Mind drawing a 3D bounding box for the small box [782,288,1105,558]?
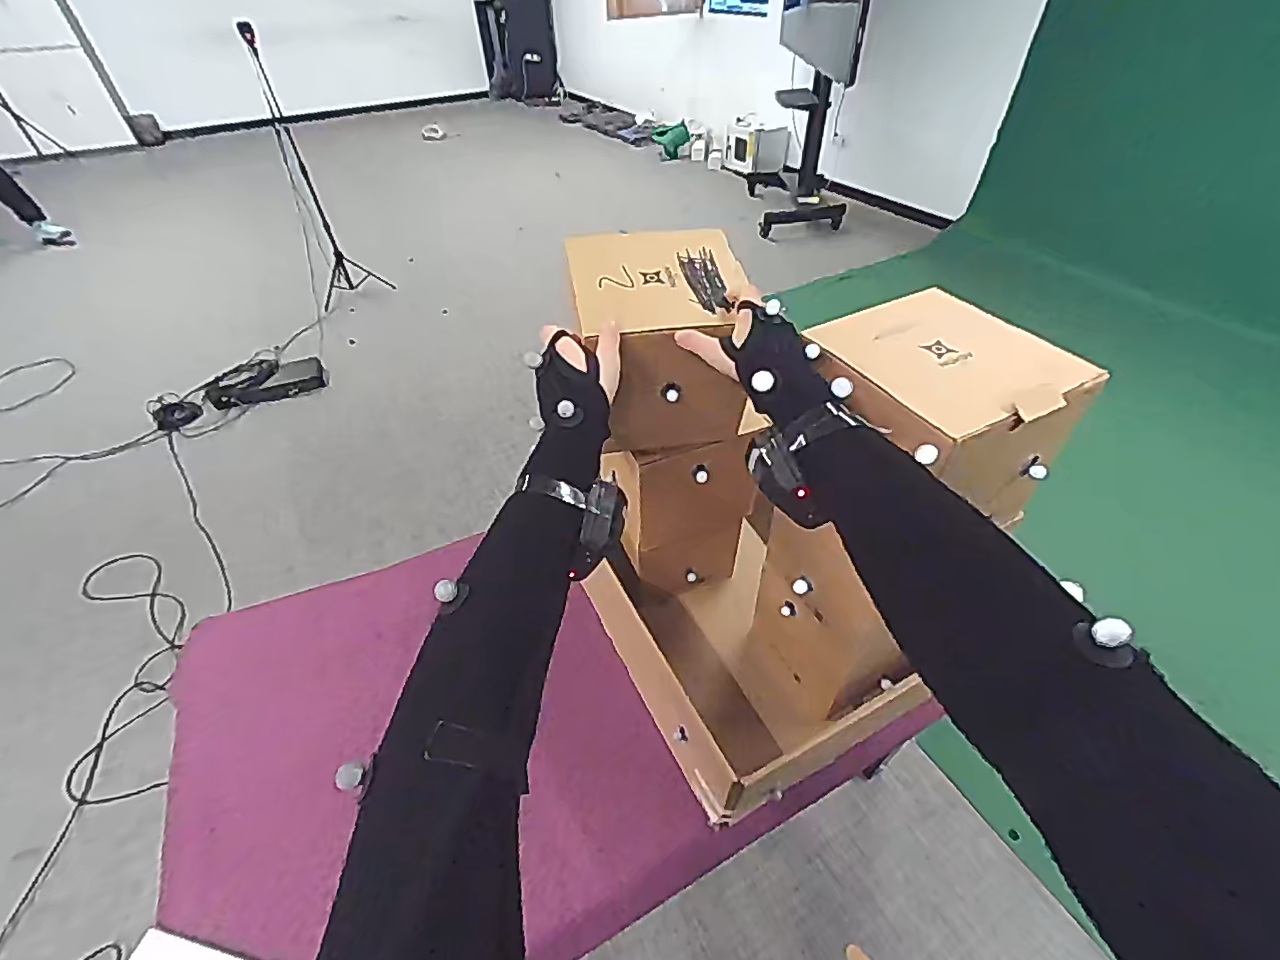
[{"bbox_3d":[0.256,-0.050,0.506,0.168,0.176,0.179,-20,46,-16],"label":"small box"}]

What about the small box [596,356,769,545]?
[{"bbox_3d":[0.050,-0.040,0.743,0.179,0.176,0.168,-17,49,-14],"label":"small box"}]

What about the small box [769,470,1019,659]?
[{"bbox_3d":[0.269,0.069,0.618,0.179,0.176,0.168,-21,47,-15],"label":"small box"}]
